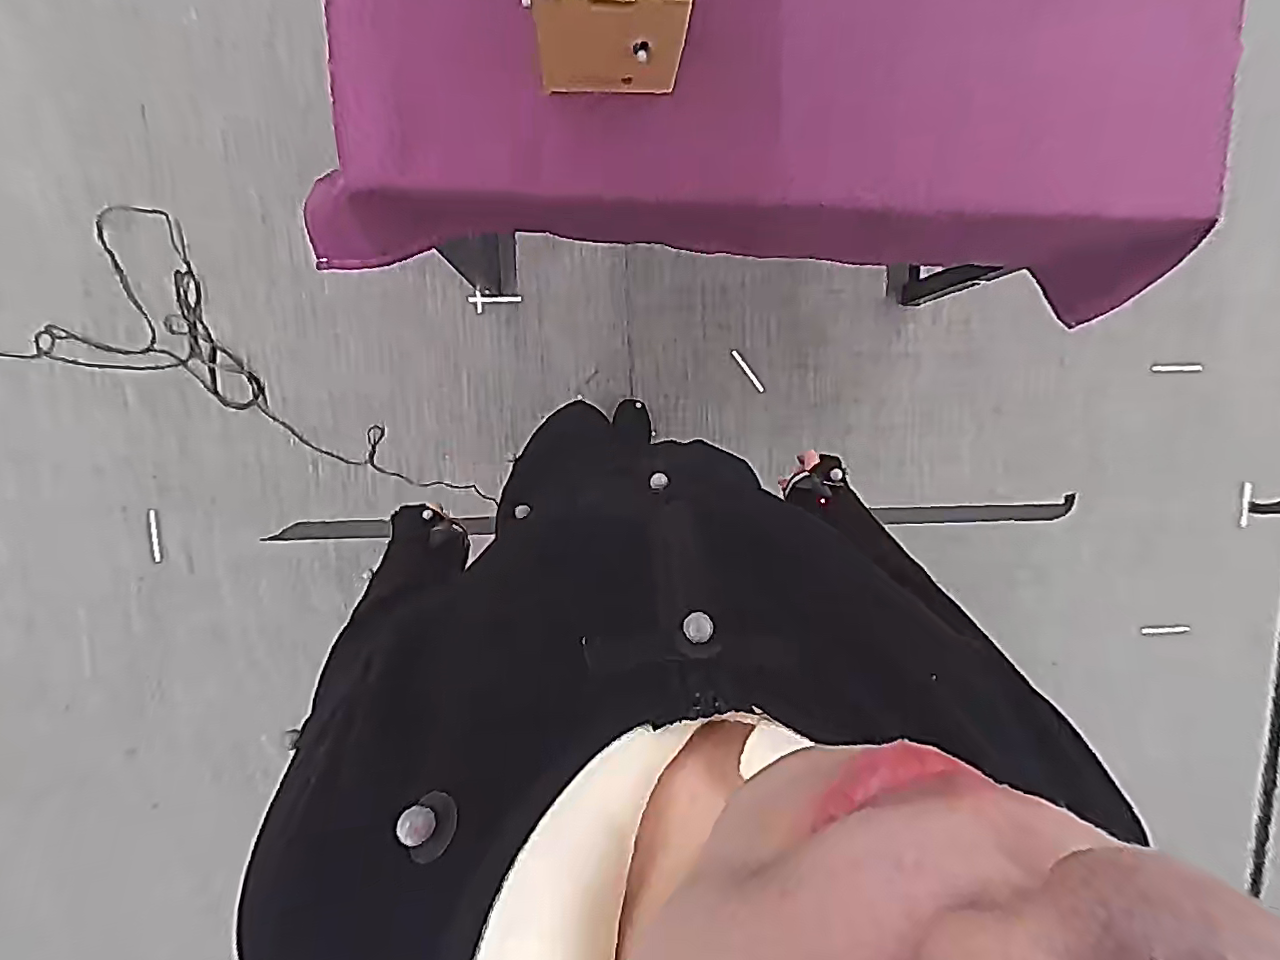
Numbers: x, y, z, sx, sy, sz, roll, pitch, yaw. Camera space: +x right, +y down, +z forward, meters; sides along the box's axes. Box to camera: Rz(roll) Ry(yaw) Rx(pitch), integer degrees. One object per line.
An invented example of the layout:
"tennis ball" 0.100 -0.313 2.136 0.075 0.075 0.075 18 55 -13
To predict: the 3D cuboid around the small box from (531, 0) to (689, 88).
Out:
"small box" -0.035 -0.577 0.604 0.168 0.176 0.179 -2 97 -5
